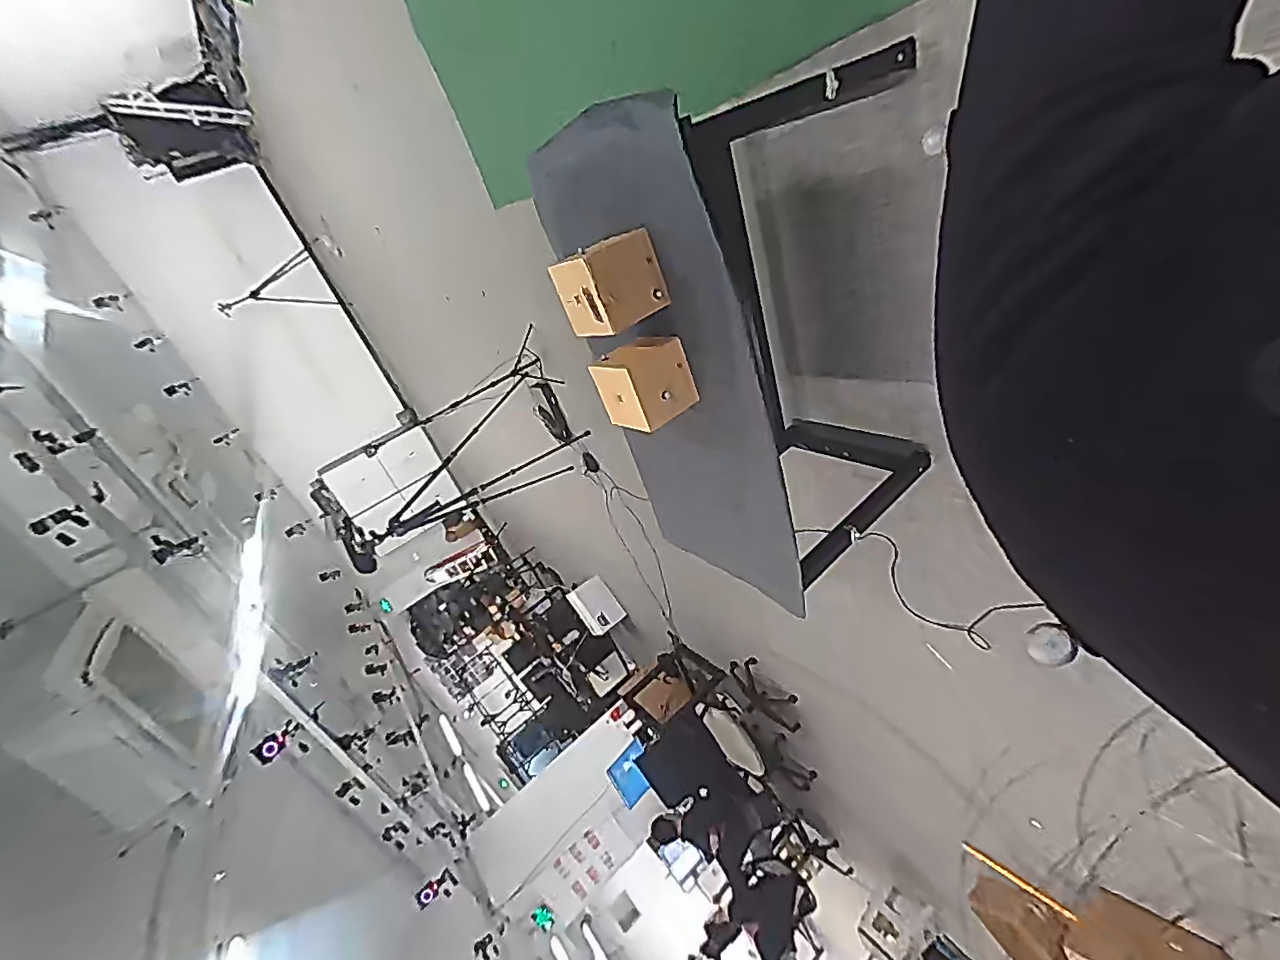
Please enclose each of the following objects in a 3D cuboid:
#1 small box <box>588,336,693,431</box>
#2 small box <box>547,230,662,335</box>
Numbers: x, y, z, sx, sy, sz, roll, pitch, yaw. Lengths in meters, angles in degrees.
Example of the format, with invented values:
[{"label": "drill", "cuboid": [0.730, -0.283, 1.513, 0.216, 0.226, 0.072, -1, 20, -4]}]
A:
[{"label": "small box", "cuboid": [0.010, -0.241, 1.313, 0.179, 0.176, 0.168, 21, 140, 54]}, {"label": "small box", "cuboid": [-0.070, -0.435, 1.195, 0.179, 0.176, 0.168, 21, 140, 54]}]
